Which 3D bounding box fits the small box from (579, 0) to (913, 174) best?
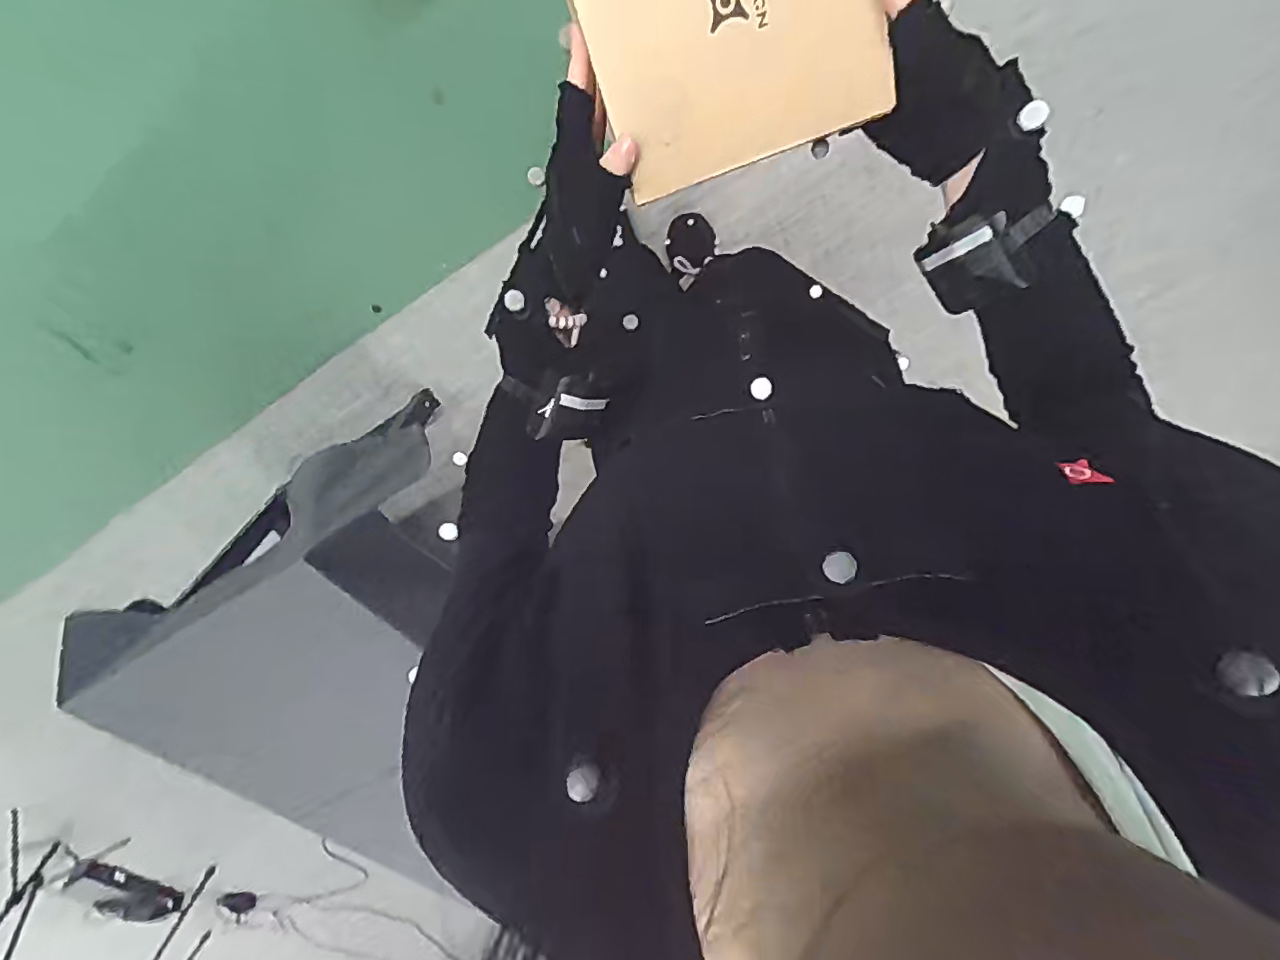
[{"bbox_3d":[0.051,-0.319,0.358,0.179,0.176,0.168,-17,122,5],"label":"small box"}]
